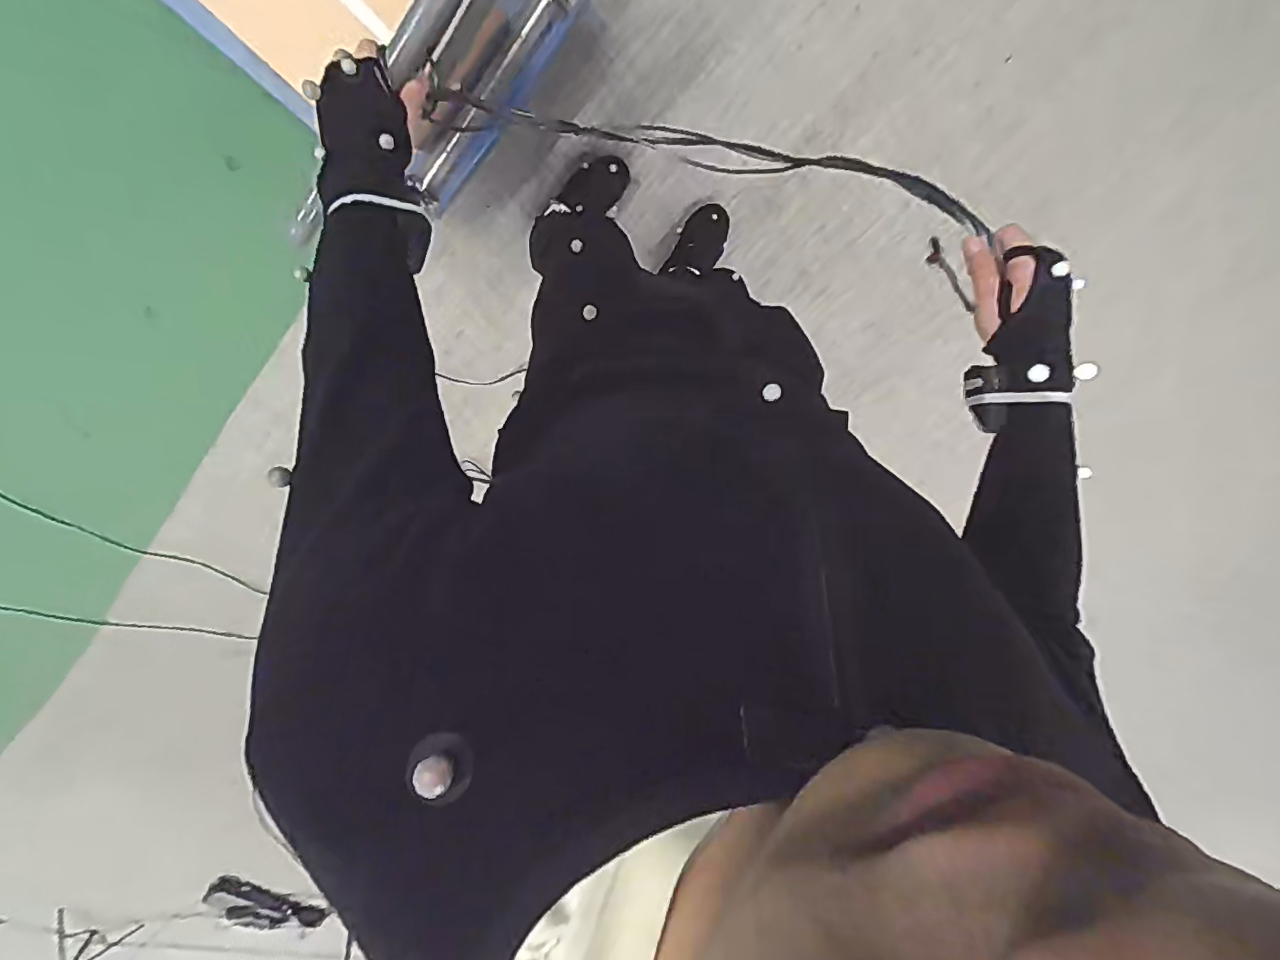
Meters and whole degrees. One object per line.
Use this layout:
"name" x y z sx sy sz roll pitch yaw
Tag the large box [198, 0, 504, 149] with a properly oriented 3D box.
"large box" -0.500 -0.838 0.897 0.408 0.320 0.320 41 110 -21
